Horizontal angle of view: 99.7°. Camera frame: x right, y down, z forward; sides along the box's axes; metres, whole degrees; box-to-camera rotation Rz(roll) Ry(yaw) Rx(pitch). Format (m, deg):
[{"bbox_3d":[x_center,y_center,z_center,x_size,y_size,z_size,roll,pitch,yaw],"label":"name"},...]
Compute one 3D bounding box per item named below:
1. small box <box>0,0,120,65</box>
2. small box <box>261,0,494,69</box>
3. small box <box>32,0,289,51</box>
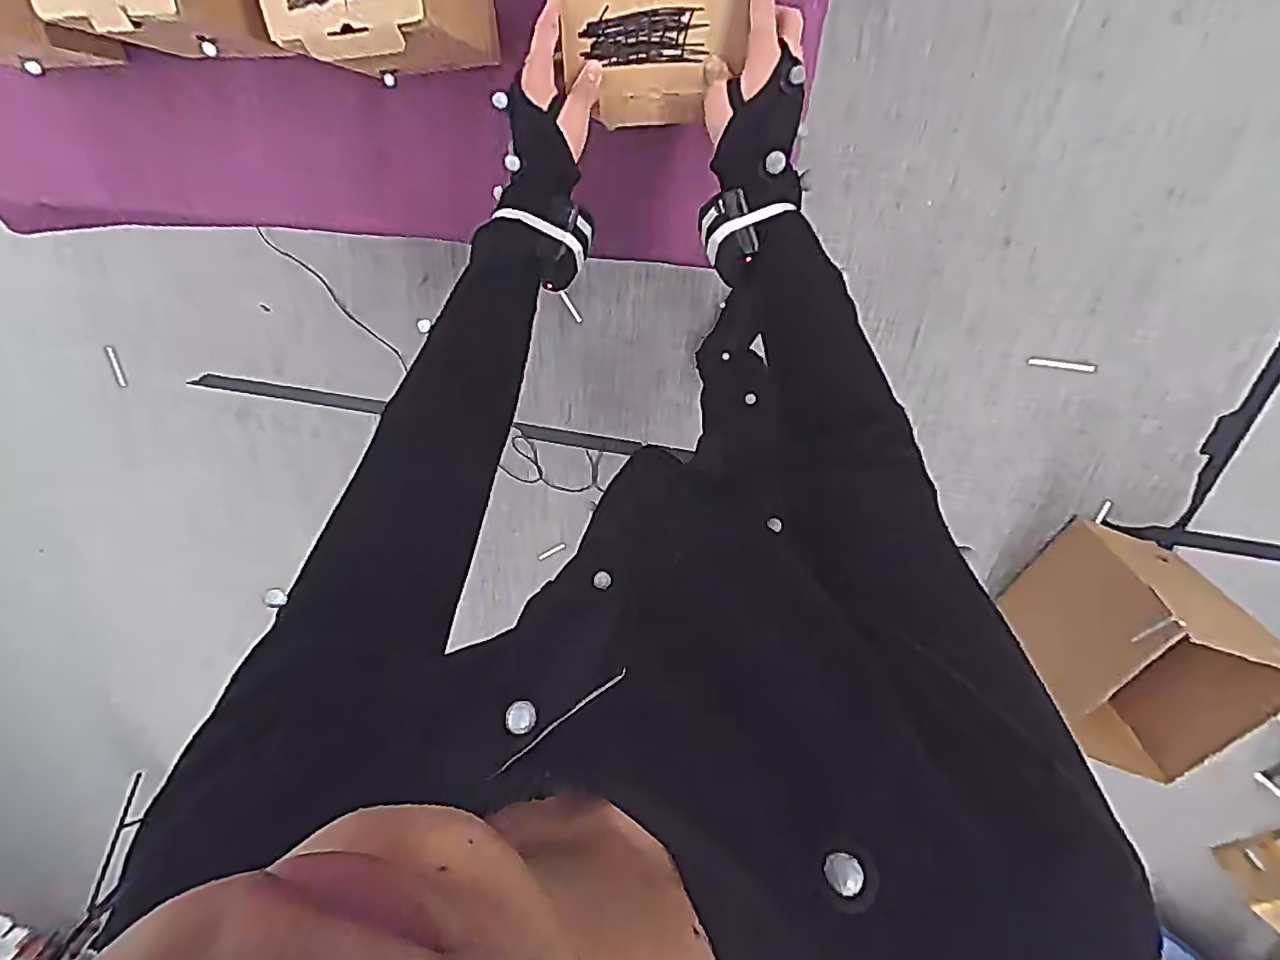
[{"bbox_3d":[-0.757,-0.589,0.601,0.168,0.176,0.179,5,118,9],"label":"small box"},{"bbox_3d":[-0.262,-0.531,0.534,0.168,0.176,0.179,1,117,10],"label":"small box"},{"bbox_3d":[-0.510,-0.571,0.564,0.168,0.176,0.179,6,118,8],"label":"small box"}]
